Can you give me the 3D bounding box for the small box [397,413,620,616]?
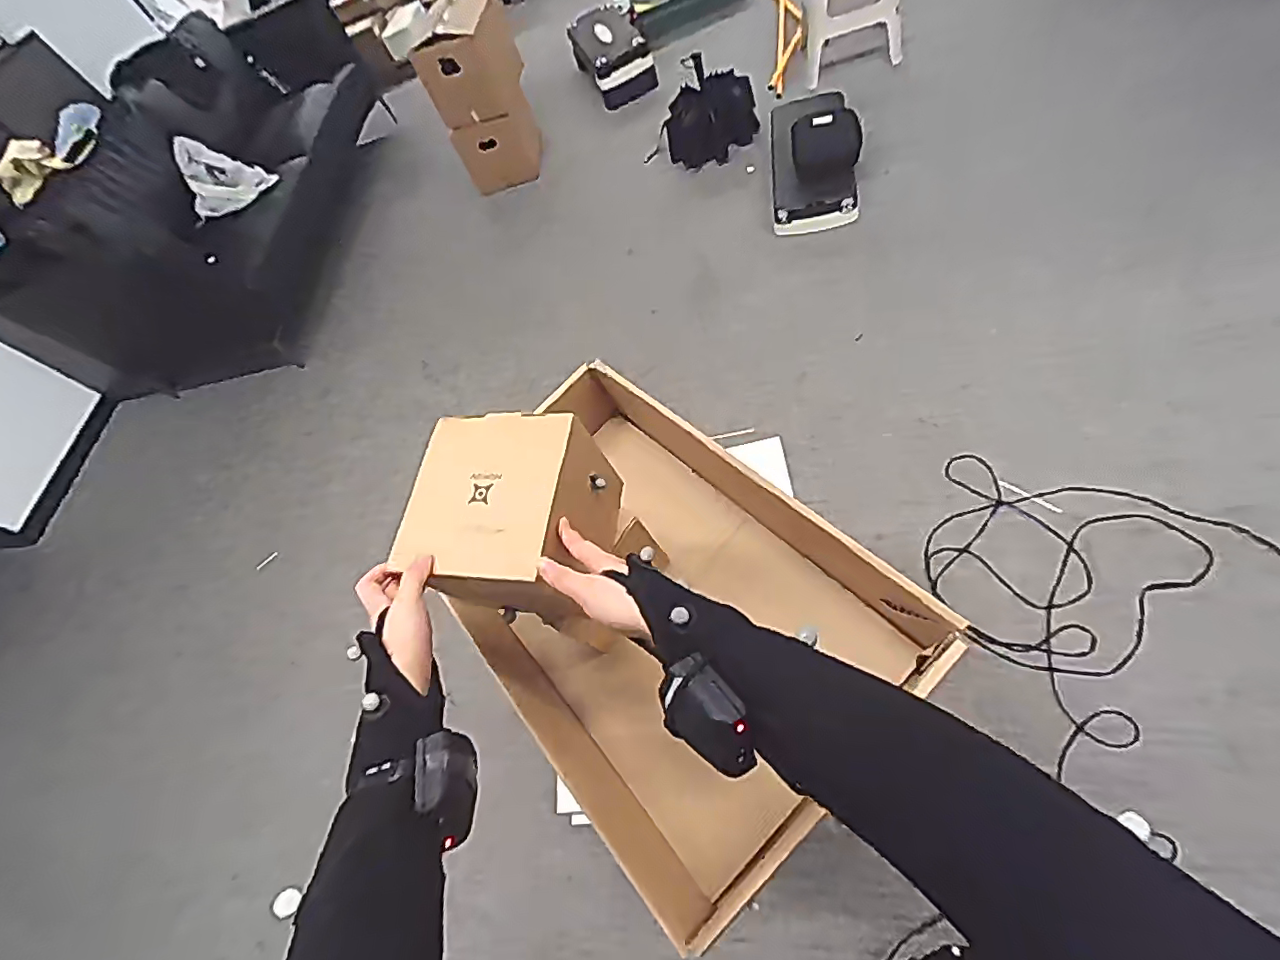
[{"bbox_3d":[-0.130,0.044,0.610,0.168,0.176,0.179,-1,64,19],"label":"small box"}]
